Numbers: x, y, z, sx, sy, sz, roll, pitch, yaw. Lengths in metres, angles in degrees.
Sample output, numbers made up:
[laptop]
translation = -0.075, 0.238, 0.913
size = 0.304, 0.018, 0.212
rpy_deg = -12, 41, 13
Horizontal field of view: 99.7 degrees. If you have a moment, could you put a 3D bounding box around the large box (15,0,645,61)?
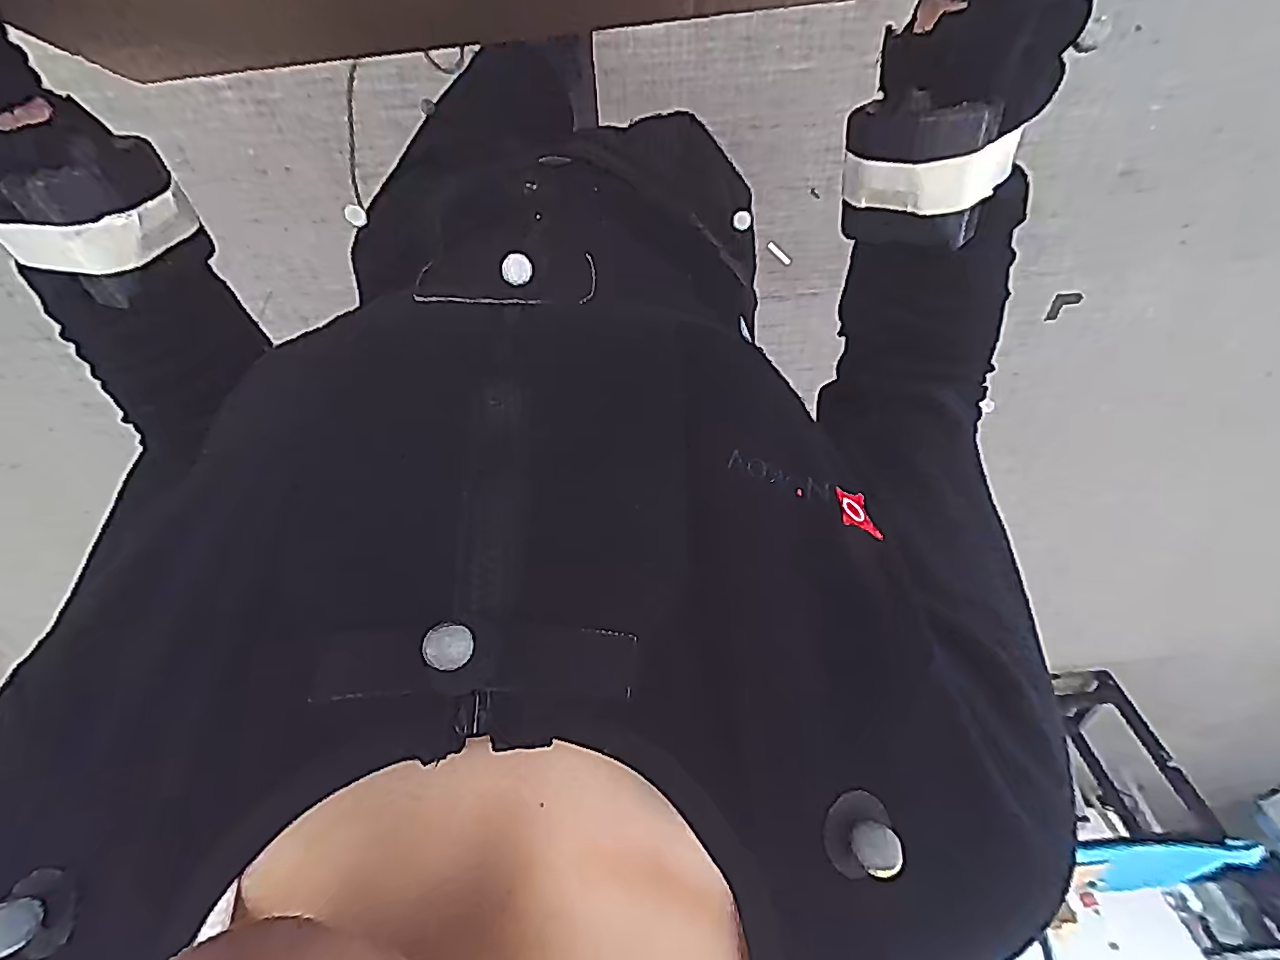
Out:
[large box]
translation = -0.084, -0.343, 0.100
size = 0.408, 0.320, 0.320
rpy_deg = -6, 109, 1
